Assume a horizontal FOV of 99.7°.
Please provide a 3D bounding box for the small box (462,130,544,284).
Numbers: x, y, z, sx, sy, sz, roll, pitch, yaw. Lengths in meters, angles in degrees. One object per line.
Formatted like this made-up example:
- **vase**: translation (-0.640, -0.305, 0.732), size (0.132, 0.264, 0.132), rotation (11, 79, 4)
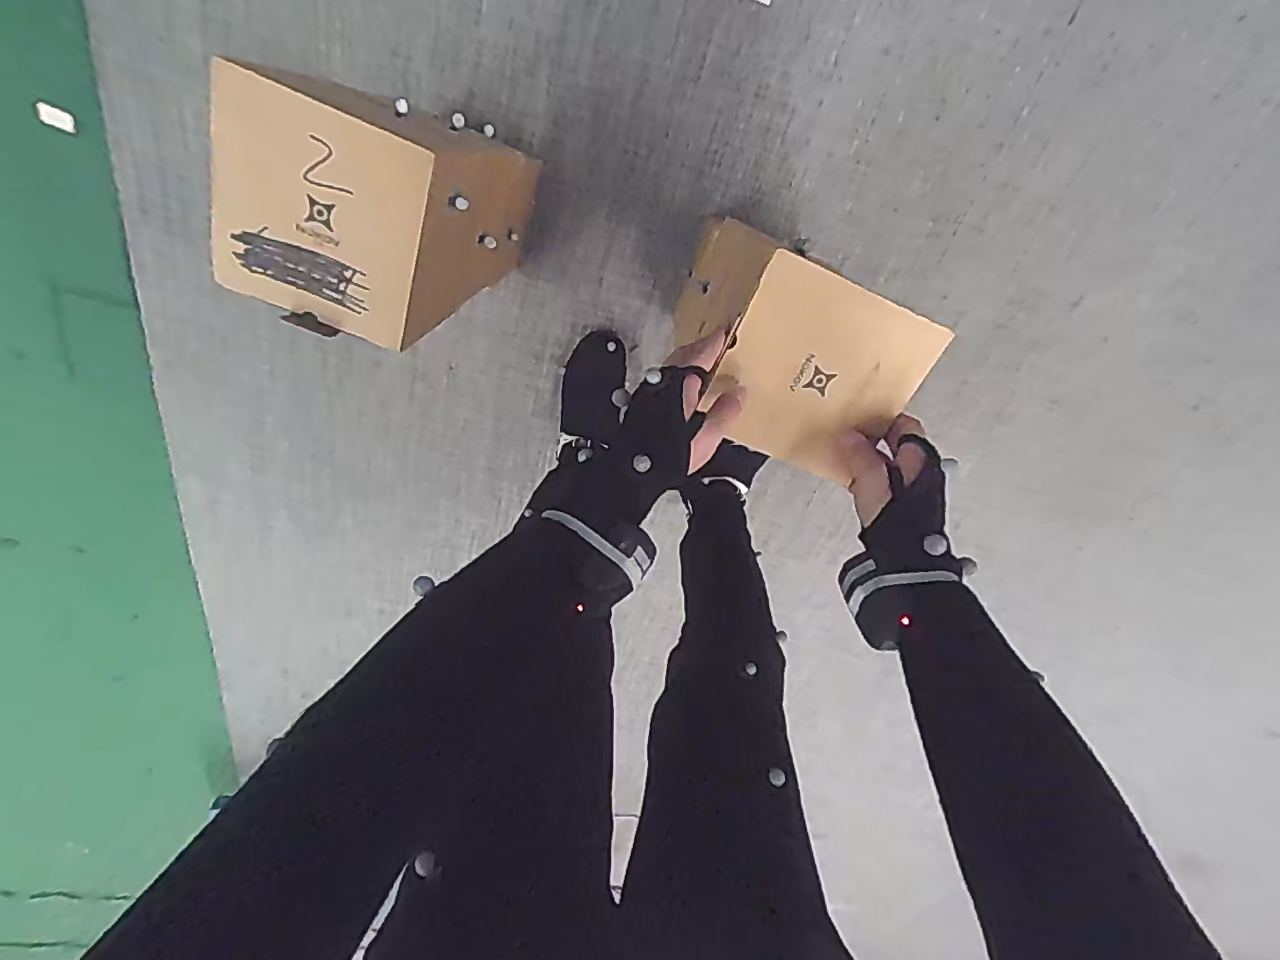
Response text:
- **small box**: translation (-0.253, -0.421, 0.803), size (0.168, 0.176, 0.179), rotation (20, 119, -8)

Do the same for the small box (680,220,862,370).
- **small box**: translation (0.158, -0.219, 0.709), size (0.168, 0.176, 0.179), rotation (22, 119, -9)

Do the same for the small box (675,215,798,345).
- **small box**: translation (0.163, -0.295, 0.856), size (0.168, 0.176, 0.179), rotation (18, 121, -7)

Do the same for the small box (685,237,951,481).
- **small box**: translation (0.156, -0.132, 0.551), size (0.179, 0.176, 0.168), rotation (22, 117, -11)

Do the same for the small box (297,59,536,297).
- **small box**: translation (-0.256, -0.358, 0.662), size (0.168, 0.176, 0.179), rotation (-31, 114, 21)
